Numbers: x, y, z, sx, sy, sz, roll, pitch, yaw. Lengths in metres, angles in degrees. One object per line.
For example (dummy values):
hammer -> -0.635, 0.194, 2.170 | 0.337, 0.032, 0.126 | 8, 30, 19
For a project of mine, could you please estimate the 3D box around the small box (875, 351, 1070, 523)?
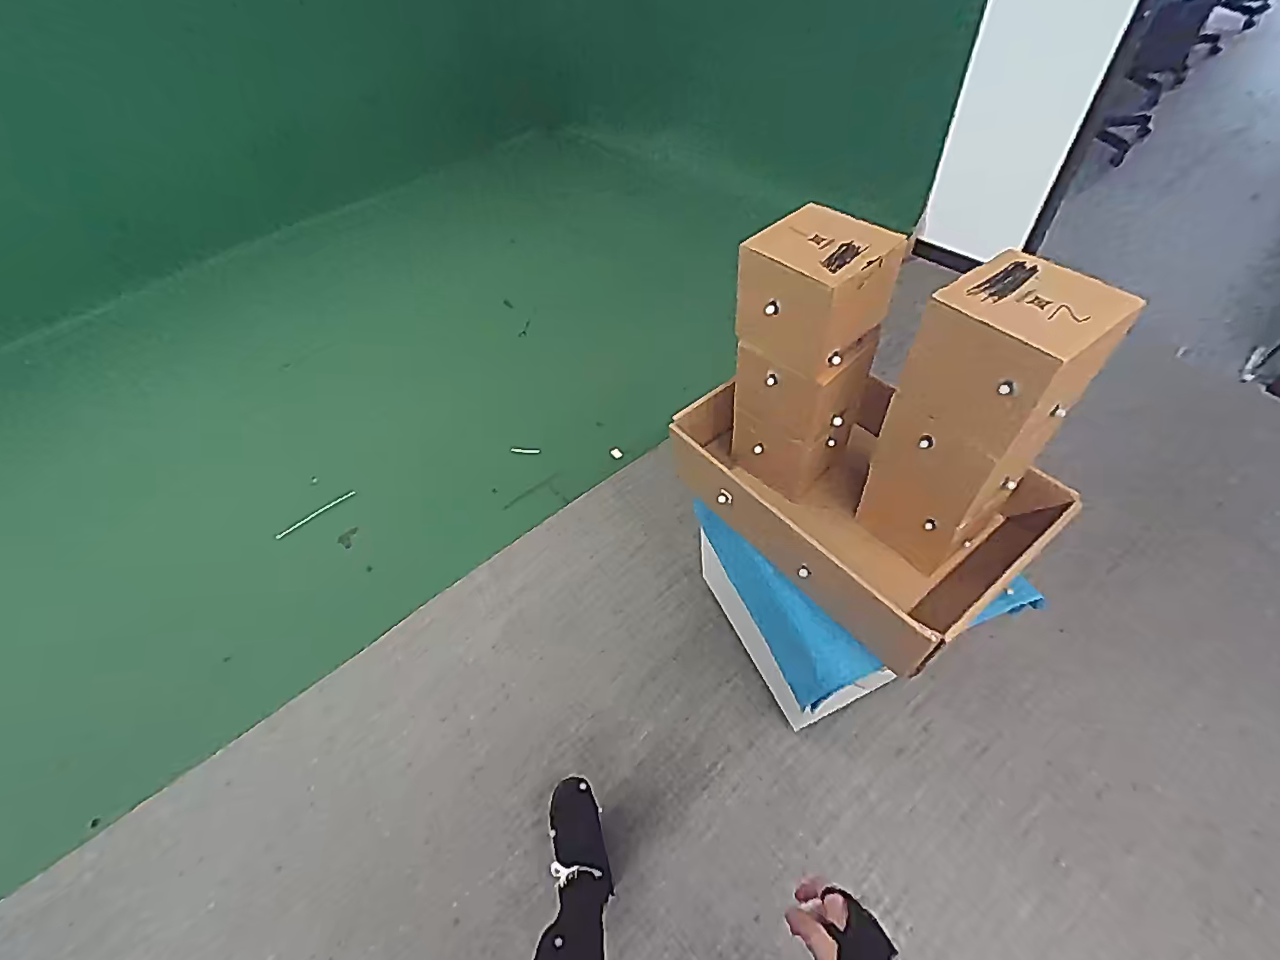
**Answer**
small box -> 0.504, -0.065, 0.851 | 0.168, 0.176, 0.179 | -32, 55, -16

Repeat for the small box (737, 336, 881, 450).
small box -> 0.291, -0.186, 0.975 | 0.168, 0.176, 0.179 | -39, 59, -21

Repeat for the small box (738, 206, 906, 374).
small box -> 0.273, -0.292, 0.849 | 0.168, 0.176, 0.179 | -36, 55, -19
